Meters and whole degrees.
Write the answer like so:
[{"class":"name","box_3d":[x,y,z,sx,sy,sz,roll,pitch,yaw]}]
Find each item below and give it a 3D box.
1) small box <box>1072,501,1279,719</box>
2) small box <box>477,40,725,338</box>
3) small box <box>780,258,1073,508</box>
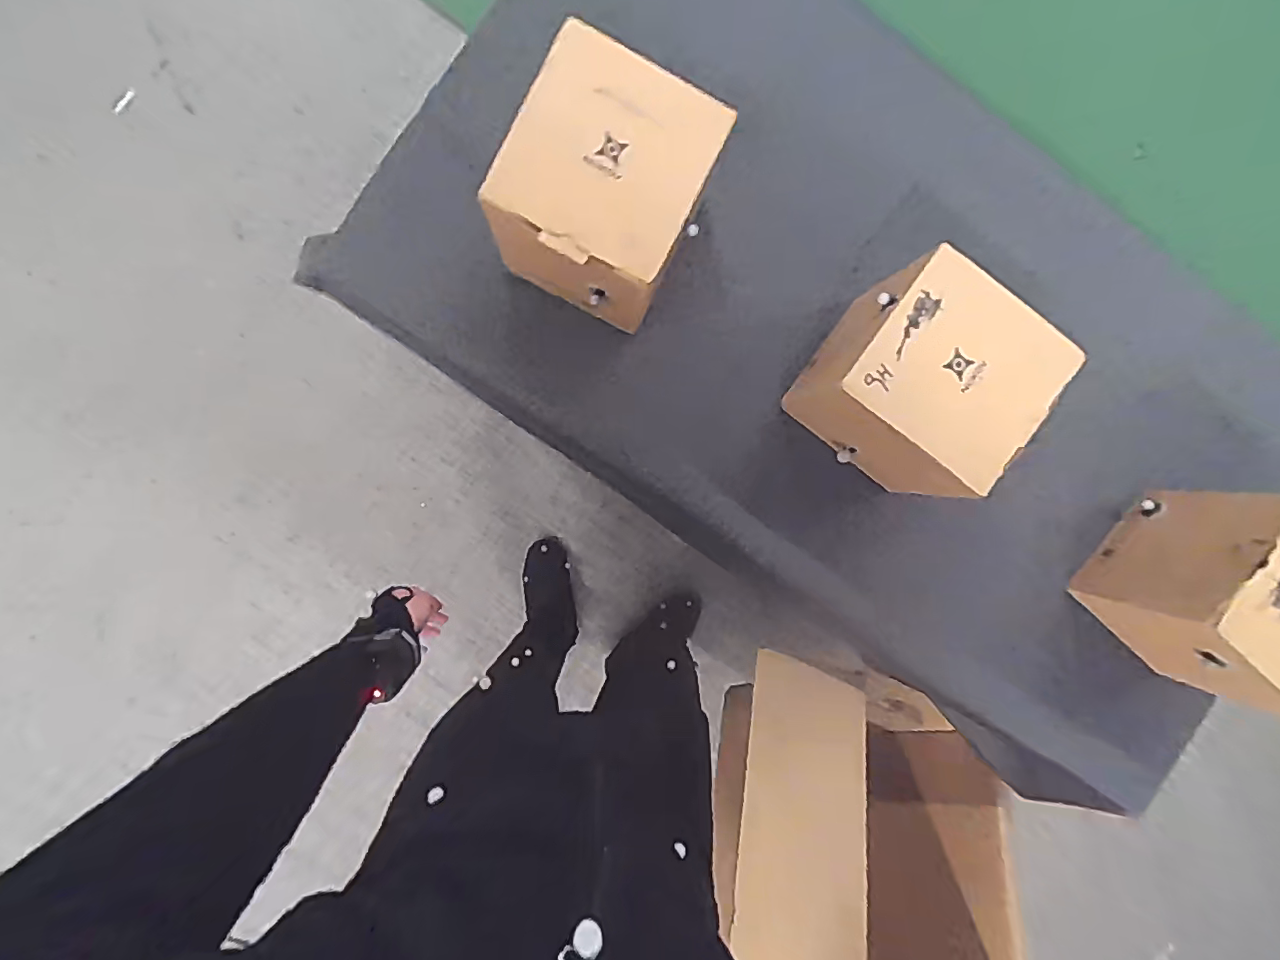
[{"class":"small box","box_3d":[0.649,0.138,0.601,0.179,0.176,0.168,41,88,-4]},{"class":"small box","box_3d":[-0.039,-0.270,0.551,0.168,0.176,0.179,26,86,-6]},{"class":"small box","box_3d":[0.283,-0.091,0.575,0.179,0.176,0.168,37,88,-4]}]
